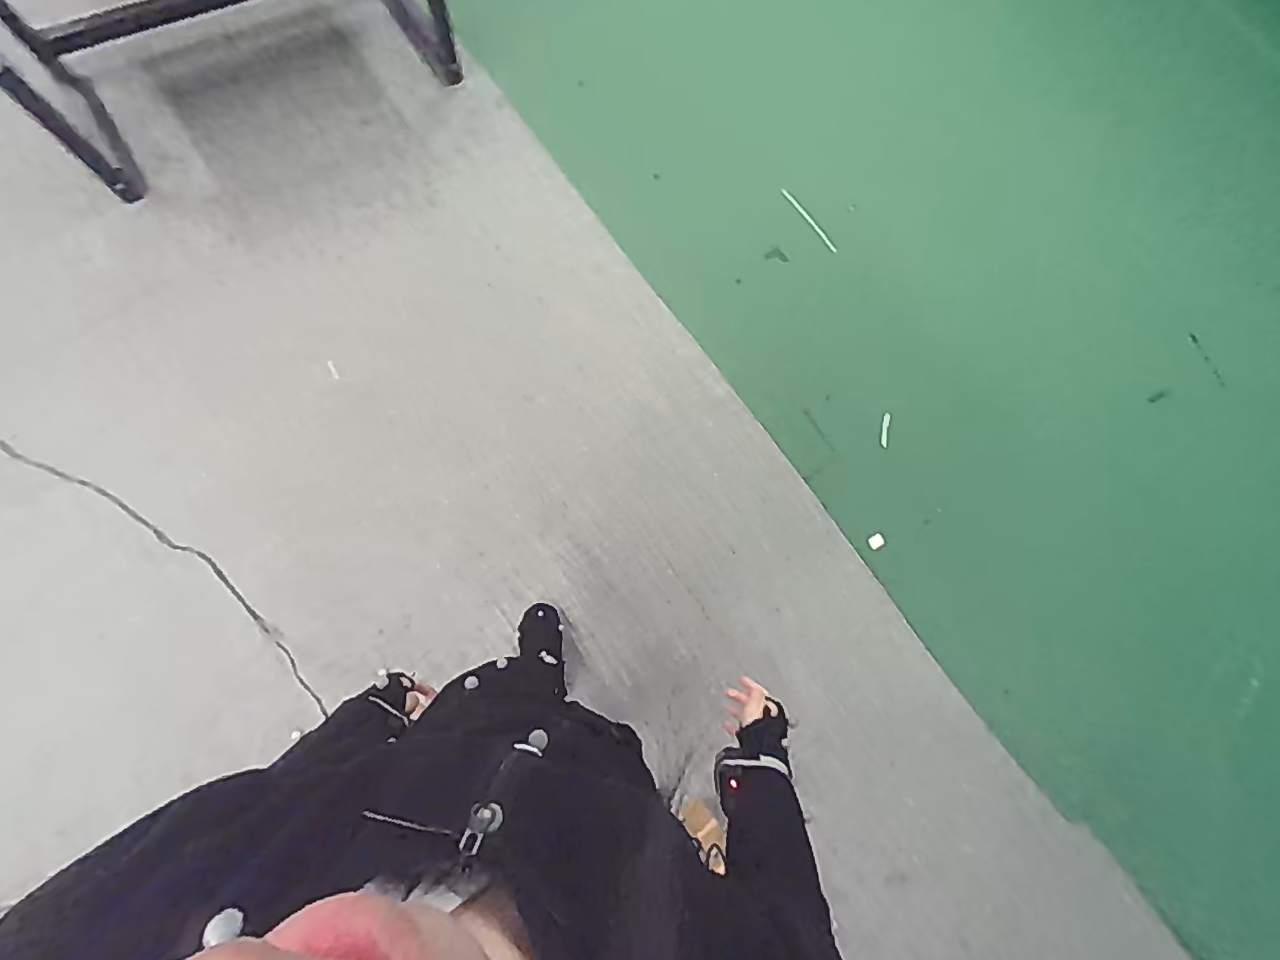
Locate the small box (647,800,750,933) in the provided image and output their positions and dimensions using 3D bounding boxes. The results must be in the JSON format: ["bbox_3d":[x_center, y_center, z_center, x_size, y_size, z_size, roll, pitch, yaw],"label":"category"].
[{"bbox_3d":[0.133,0.918,1.304,0.168,0.176,0.179,-28,79,-14],"label":"small box"}]
